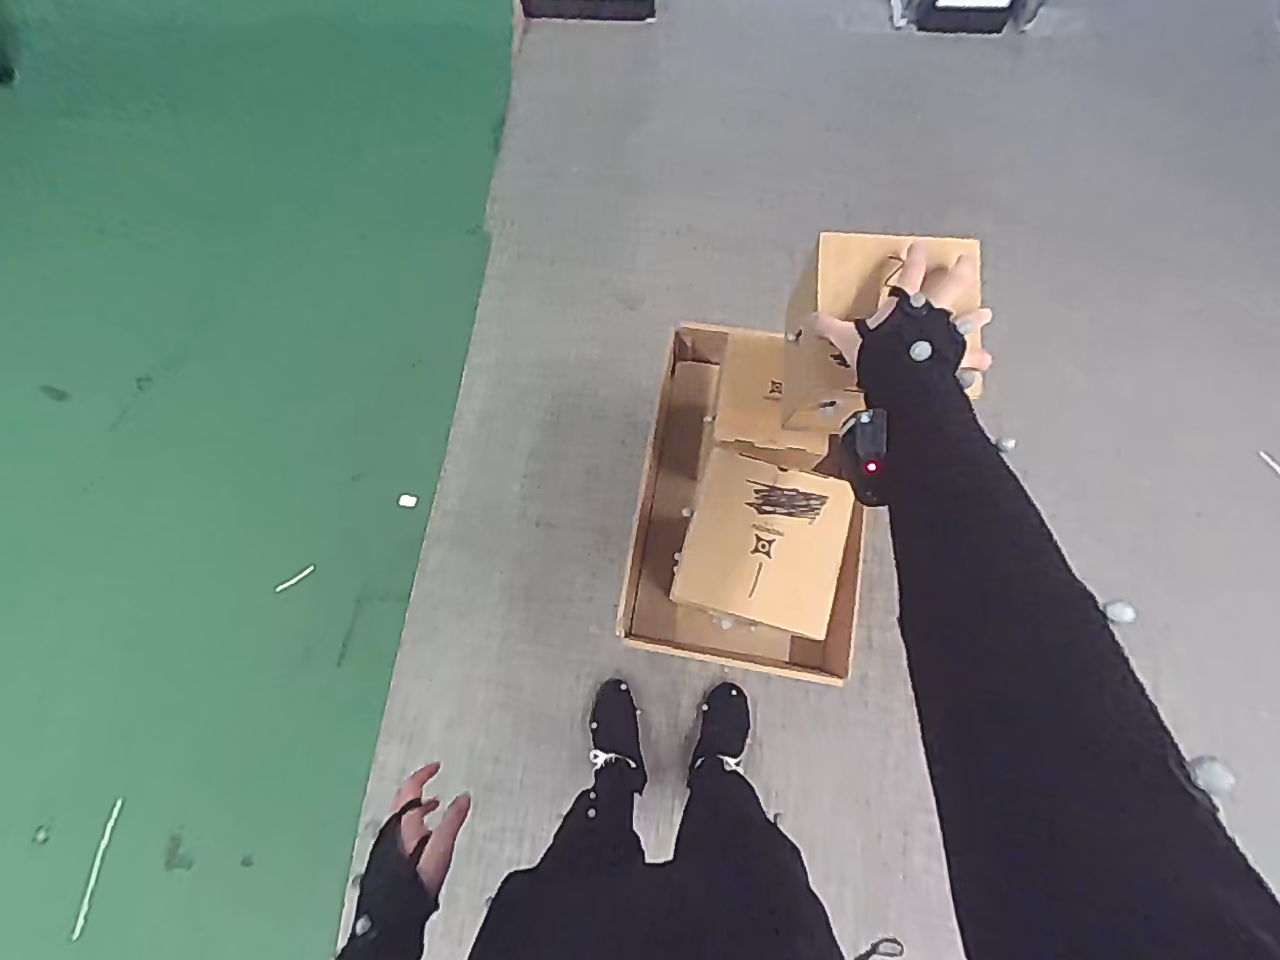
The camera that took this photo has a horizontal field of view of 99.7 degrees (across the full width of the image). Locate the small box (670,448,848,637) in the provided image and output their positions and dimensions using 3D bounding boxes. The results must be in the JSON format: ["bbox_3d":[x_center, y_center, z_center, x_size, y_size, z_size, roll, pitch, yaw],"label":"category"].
[{"bbox_3d":[0.135,0.082,0.672,0.168,0.176,0.179,15,78,5],"label":"small box"}]

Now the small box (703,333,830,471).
[{"bbox_3d":[0.199,-0.115,0.889,0.168,0.176,0.179,9,79,4],"label":"small box"}]
